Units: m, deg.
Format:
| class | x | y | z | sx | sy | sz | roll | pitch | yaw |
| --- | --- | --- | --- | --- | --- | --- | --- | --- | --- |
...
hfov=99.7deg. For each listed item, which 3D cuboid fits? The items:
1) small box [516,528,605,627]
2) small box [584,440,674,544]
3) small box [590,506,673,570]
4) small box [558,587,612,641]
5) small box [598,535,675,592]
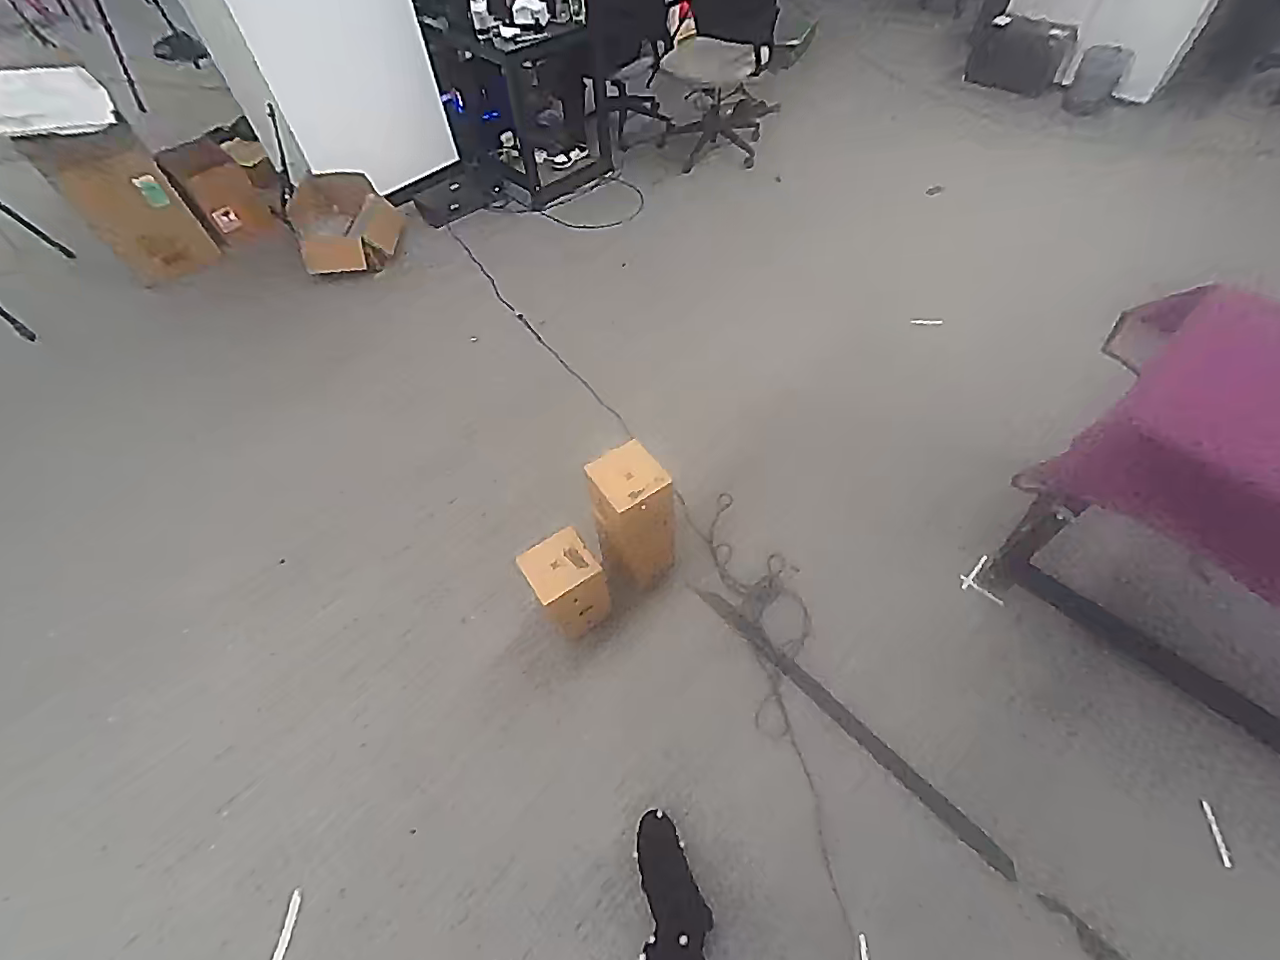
| class | x | y | z | sx | sy | sz | roll | pitch | yaw |
| --- | --- | --- | --- | --- | --- | --- | --- | --- | --- |
| small box | -0.207 | 0.267 | 1.466 | 0.179 | 0.176 | 0.168 | -31 | 59 | -16 |
| small box | -0.027 | 0.035 | 1.420 | 0.168 | 0.176 | 0.179 | -31 | 58 | -16 |
| small box | -0.017 | 0.126 | 1.557 | 0.179 | 0.176 | 0.168 | -37 | 61 | -20 |
| small box | -0.202 | 0.348 | 1.609 | 0.168 | 0.176 | 0.179 | -35 | 60 | -18 |
| small box | -0.009 | 0.219 | 1.689 | 0.168 | 0.176 | 0.179 | -39 | 62 | -21 |
